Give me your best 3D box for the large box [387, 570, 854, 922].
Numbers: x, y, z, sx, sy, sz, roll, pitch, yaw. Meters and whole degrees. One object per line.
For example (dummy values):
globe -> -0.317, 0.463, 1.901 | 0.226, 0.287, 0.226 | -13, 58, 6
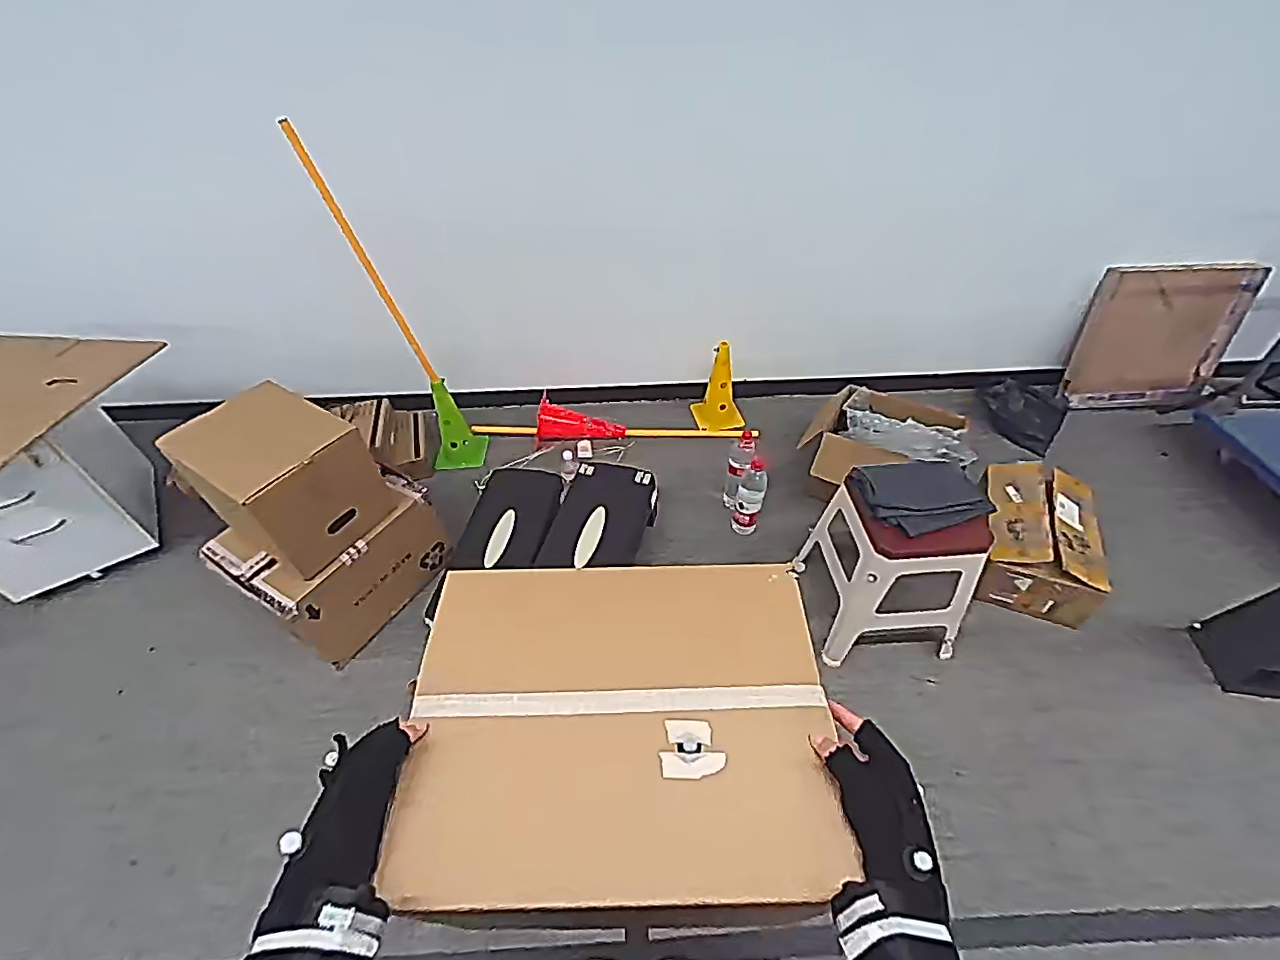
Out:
large box -> -0.020, 0.326, 0.661 | 0.408, 0.320, 0.320 | -1, 49, 0
